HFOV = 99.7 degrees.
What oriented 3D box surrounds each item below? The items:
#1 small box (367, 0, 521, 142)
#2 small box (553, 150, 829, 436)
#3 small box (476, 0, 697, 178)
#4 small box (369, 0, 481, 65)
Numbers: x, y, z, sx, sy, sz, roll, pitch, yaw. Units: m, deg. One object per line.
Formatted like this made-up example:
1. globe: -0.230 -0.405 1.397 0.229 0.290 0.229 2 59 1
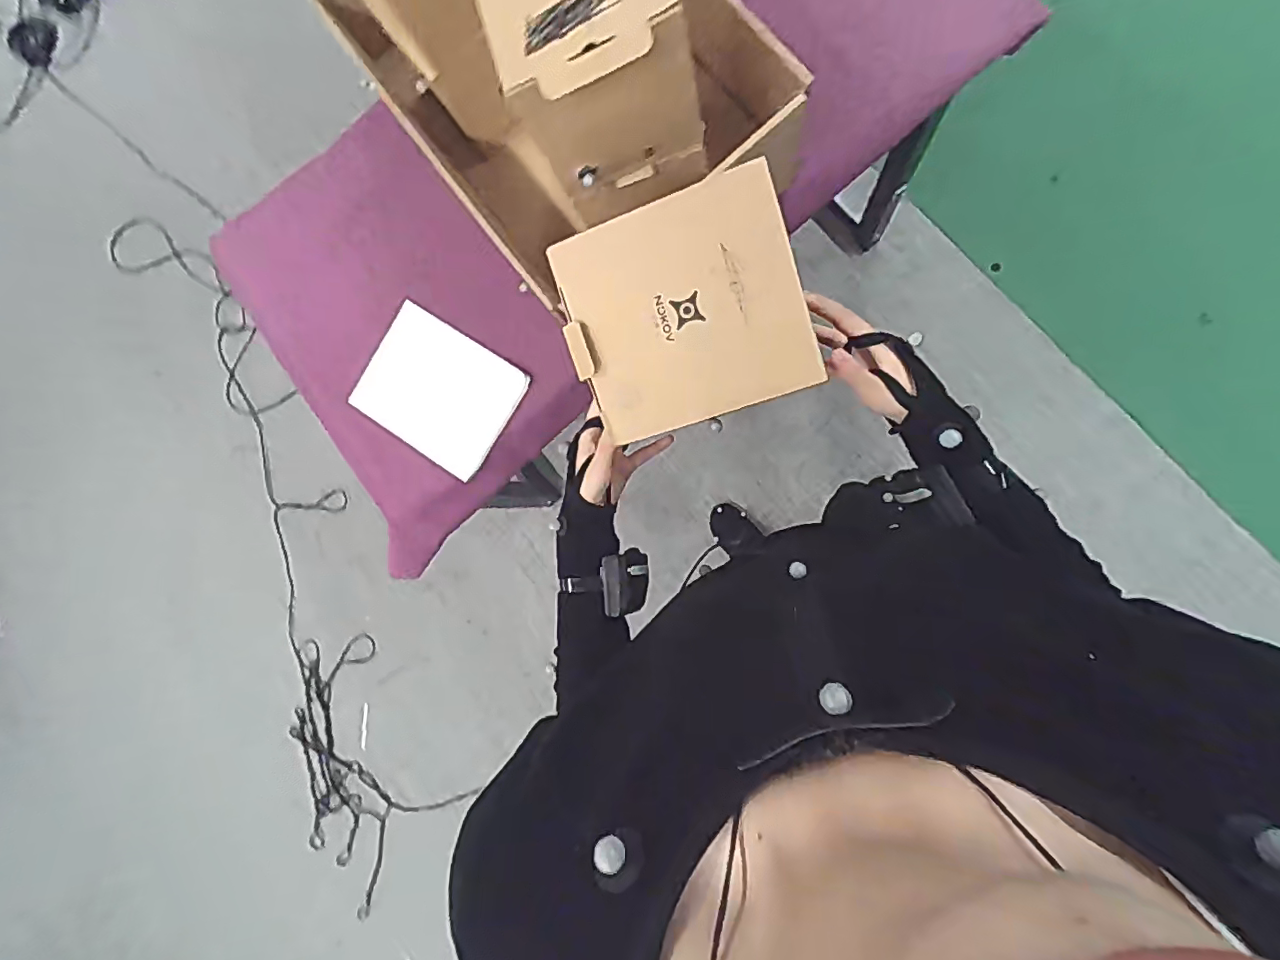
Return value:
1. small box: -0.236 -0.618 0.754 0.168 0.176 0.179 -38 83 7
2. small box: 0.052 -0.144 0.480 0.179 0.176 0.168 -16 97 14
3. small box: -0.049 -0.440 0.540 0.168 0.176 0.179 -18 83 11
4. small box: -0.259 -0.622 0.594 0.179 0.176 0.168 -41 83 7
